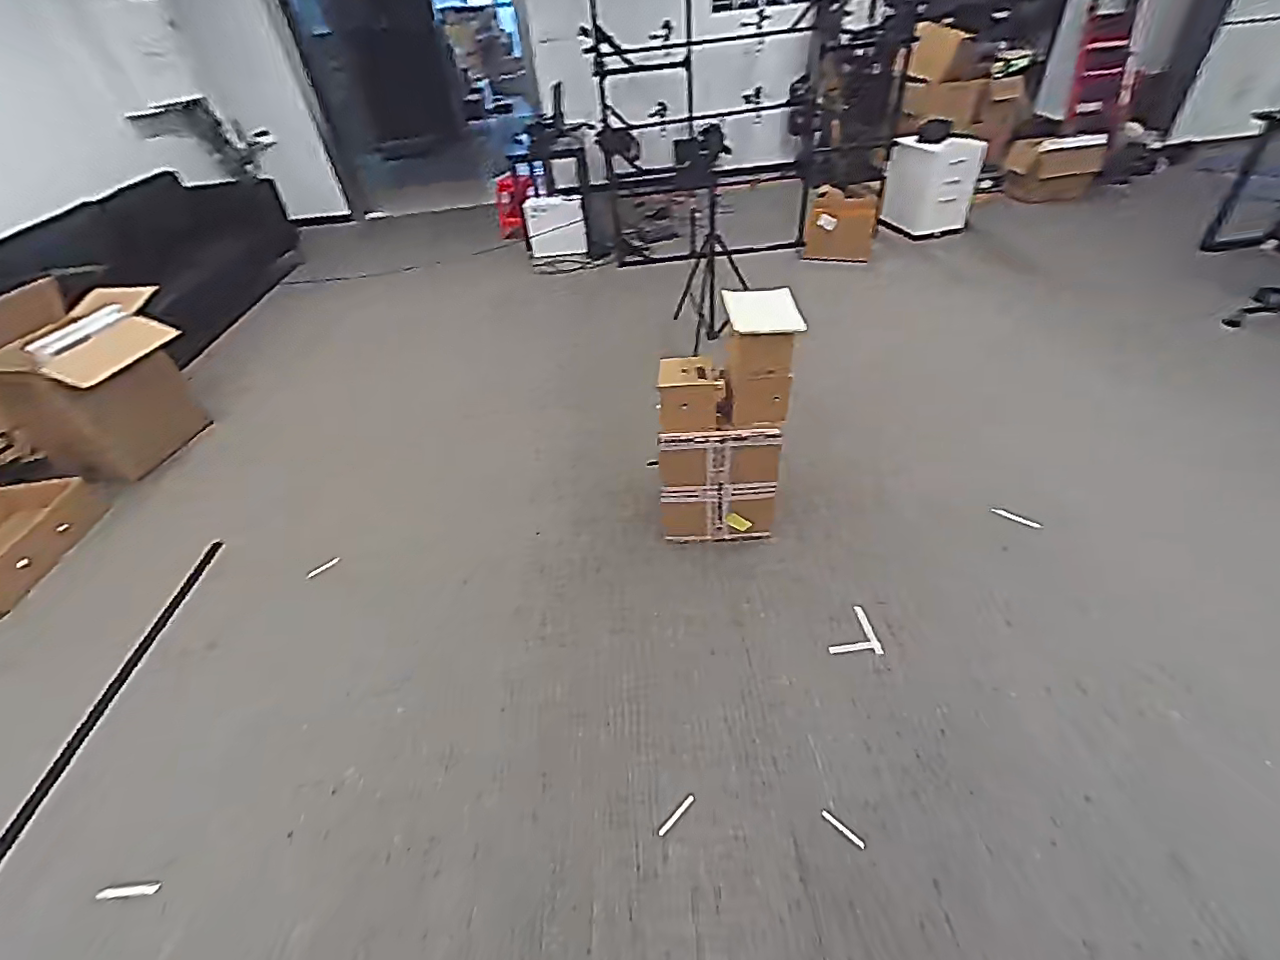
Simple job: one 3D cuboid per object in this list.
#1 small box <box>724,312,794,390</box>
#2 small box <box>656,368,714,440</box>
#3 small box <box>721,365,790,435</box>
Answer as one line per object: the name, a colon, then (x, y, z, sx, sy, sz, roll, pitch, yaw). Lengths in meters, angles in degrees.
small box: (0.353, -0.390, 1.637, 0.168, 0.176, 0.179, -4, 41, 0)
small box: (0.148, -0.244, 1.743, 0.179, 0.176, 0.168, -2, 43, 7)
small box: (0.365, -0.264, 1.739, 0.179, 0.176, 0.168, -6, 42, -1)
